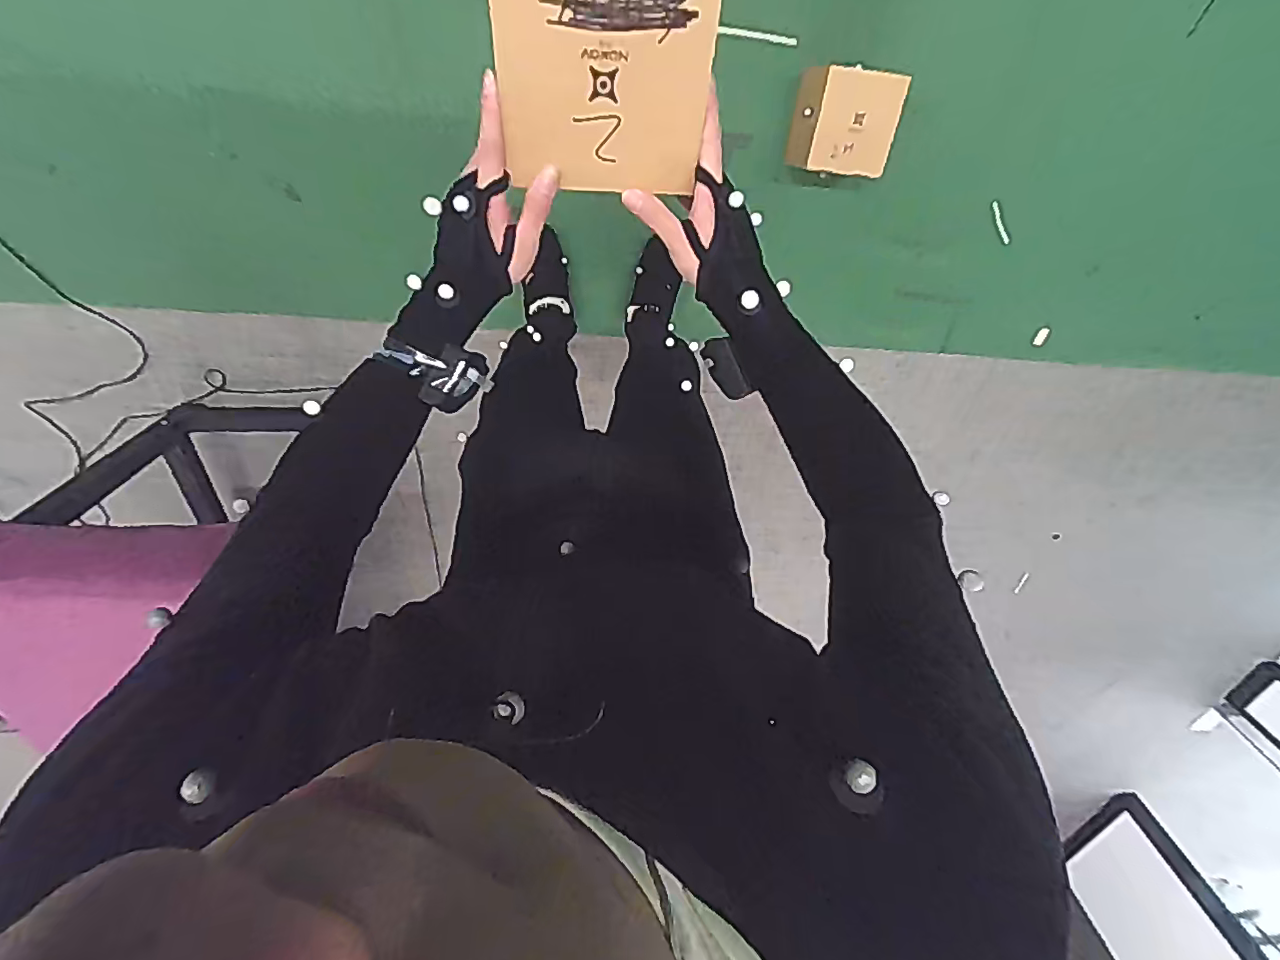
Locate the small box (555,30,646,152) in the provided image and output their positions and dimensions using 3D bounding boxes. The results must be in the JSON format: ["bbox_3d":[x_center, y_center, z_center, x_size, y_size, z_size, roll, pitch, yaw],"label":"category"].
[{"bbox_3d":[-0.082,-0.772,1.086,0.168,0.176,0.179,2,122,-6],"label":"small box"}]

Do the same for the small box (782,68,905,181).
[{"bbox_3d":[0.417,-0.748,1.146,0.168,0.176,0.179,3,123,-7],"label":"small box"}]
